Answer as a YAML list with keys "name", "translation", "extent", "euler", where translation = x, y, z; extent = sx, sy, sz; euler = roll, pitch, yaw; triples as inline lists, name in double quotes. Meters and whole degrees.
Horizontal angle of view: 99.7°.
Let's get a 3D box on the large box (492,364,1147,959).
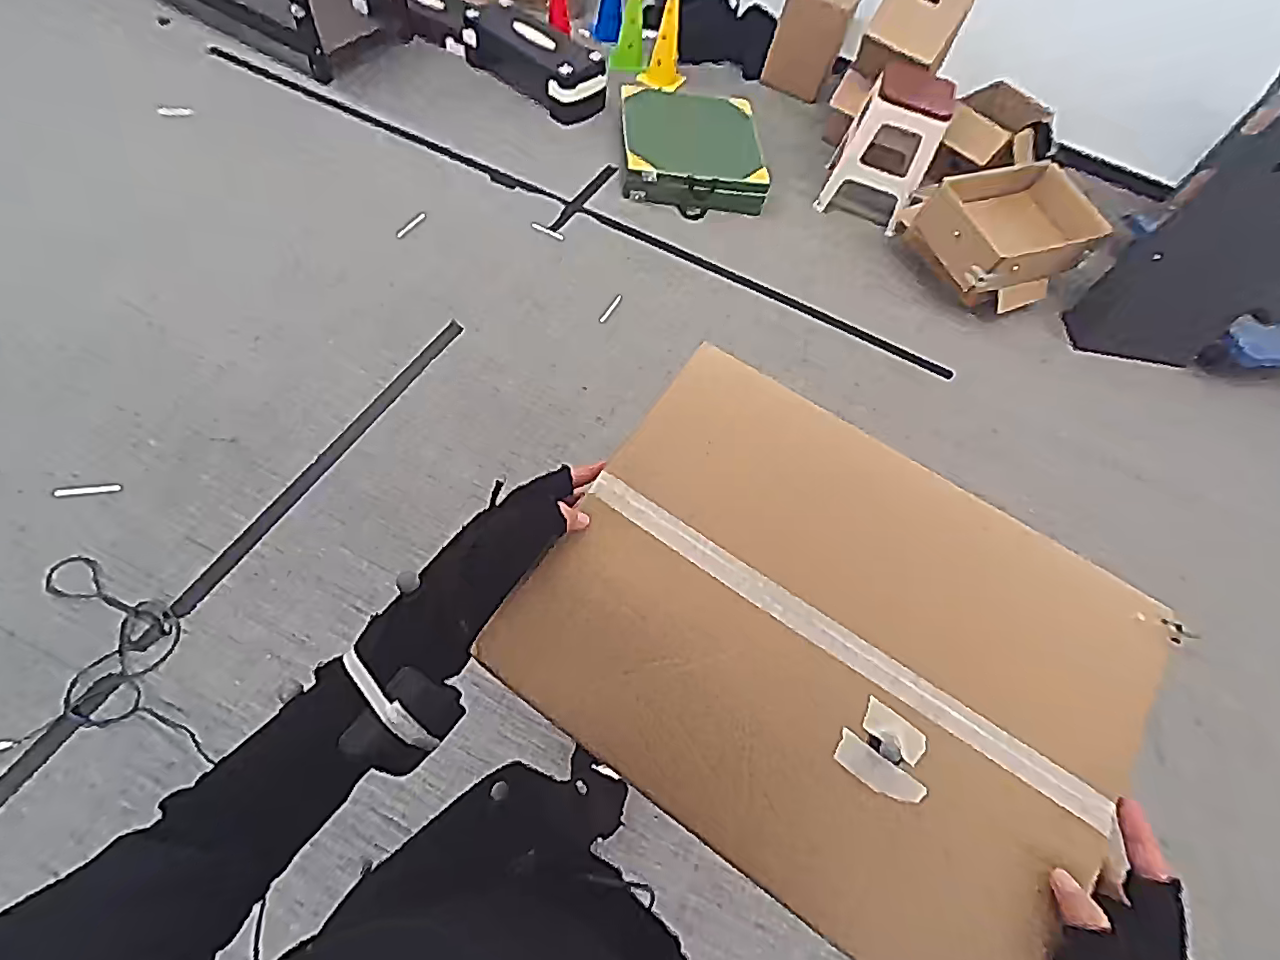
- name: "large box"
  translation: [0.134, 0.164, 0.541]
  extent: [0.408, 0.320, 0.320]
  euler: [33, 74, 11]
